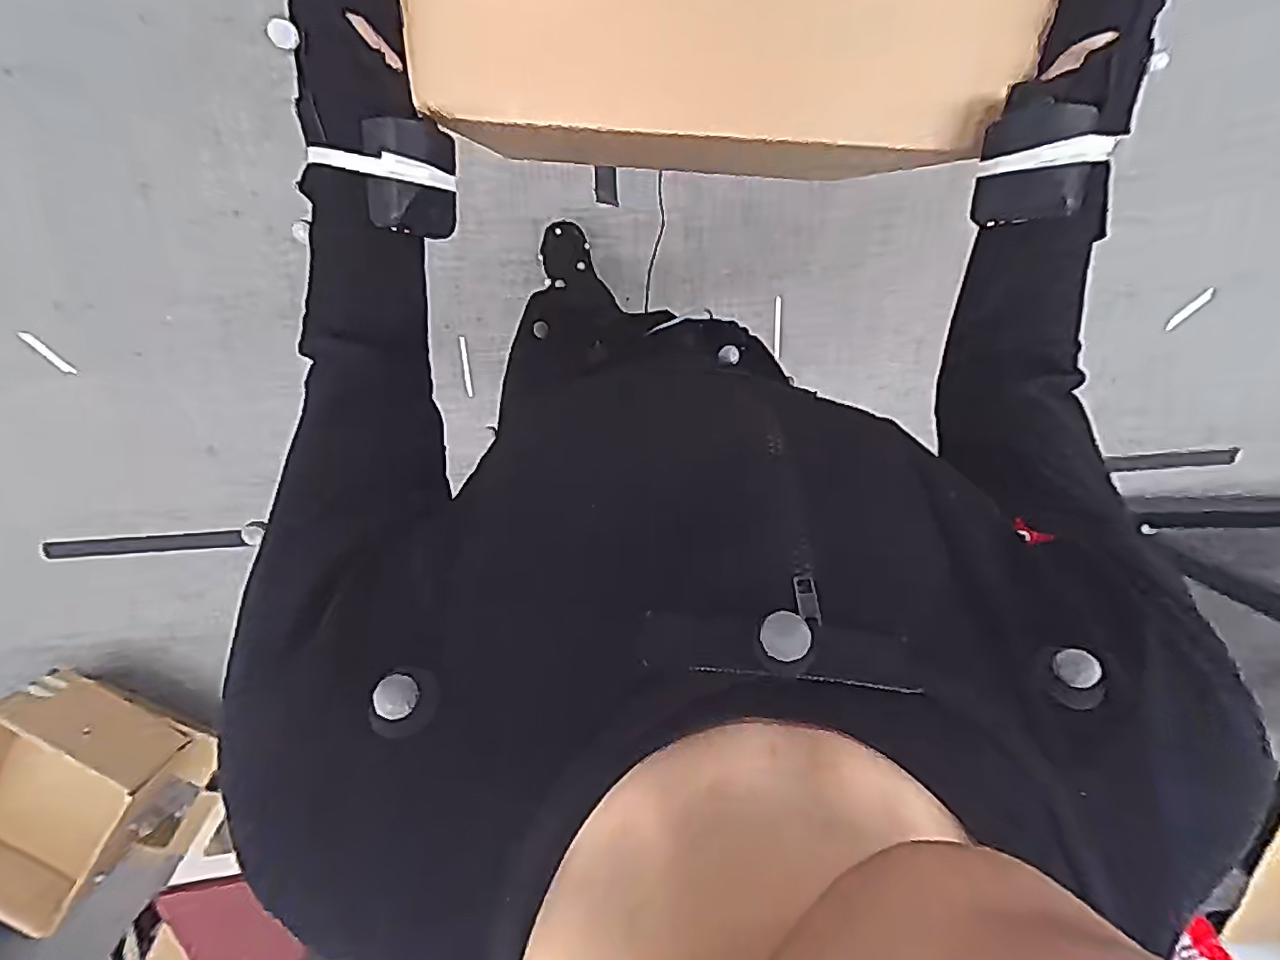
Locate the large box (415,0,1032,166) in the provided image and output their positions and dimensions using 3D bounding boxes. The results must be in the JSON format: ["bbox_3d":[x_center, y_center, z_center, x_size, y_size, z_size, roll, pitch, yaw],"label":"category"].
[{"bbox_3d":[0.050,-0.448,0.437,0.408,0.320,0.320,1,117,-5],"label":"large box"}]
